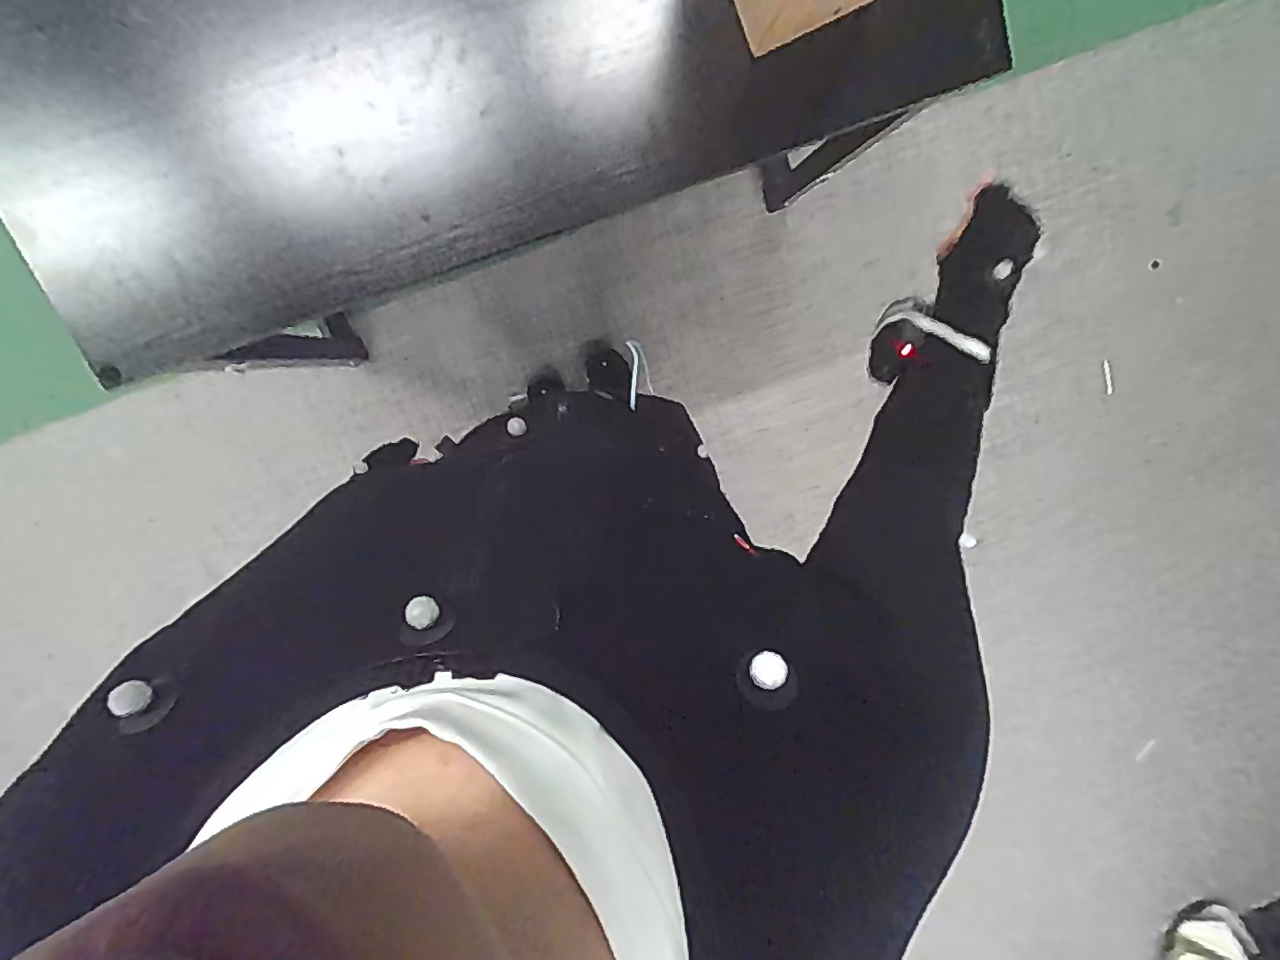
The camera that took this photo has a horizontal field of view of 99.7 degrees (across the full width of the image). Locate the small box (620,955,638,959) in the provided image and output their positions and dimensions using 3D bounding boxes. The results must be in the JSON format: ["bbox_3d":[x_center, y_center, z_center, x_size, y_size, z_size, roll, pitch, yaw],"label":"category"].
[{"bbox_3d":[-0.062,1.779,1.838,0.179,0.176,0.168,-19,105,-3],"label":"small box"}]
